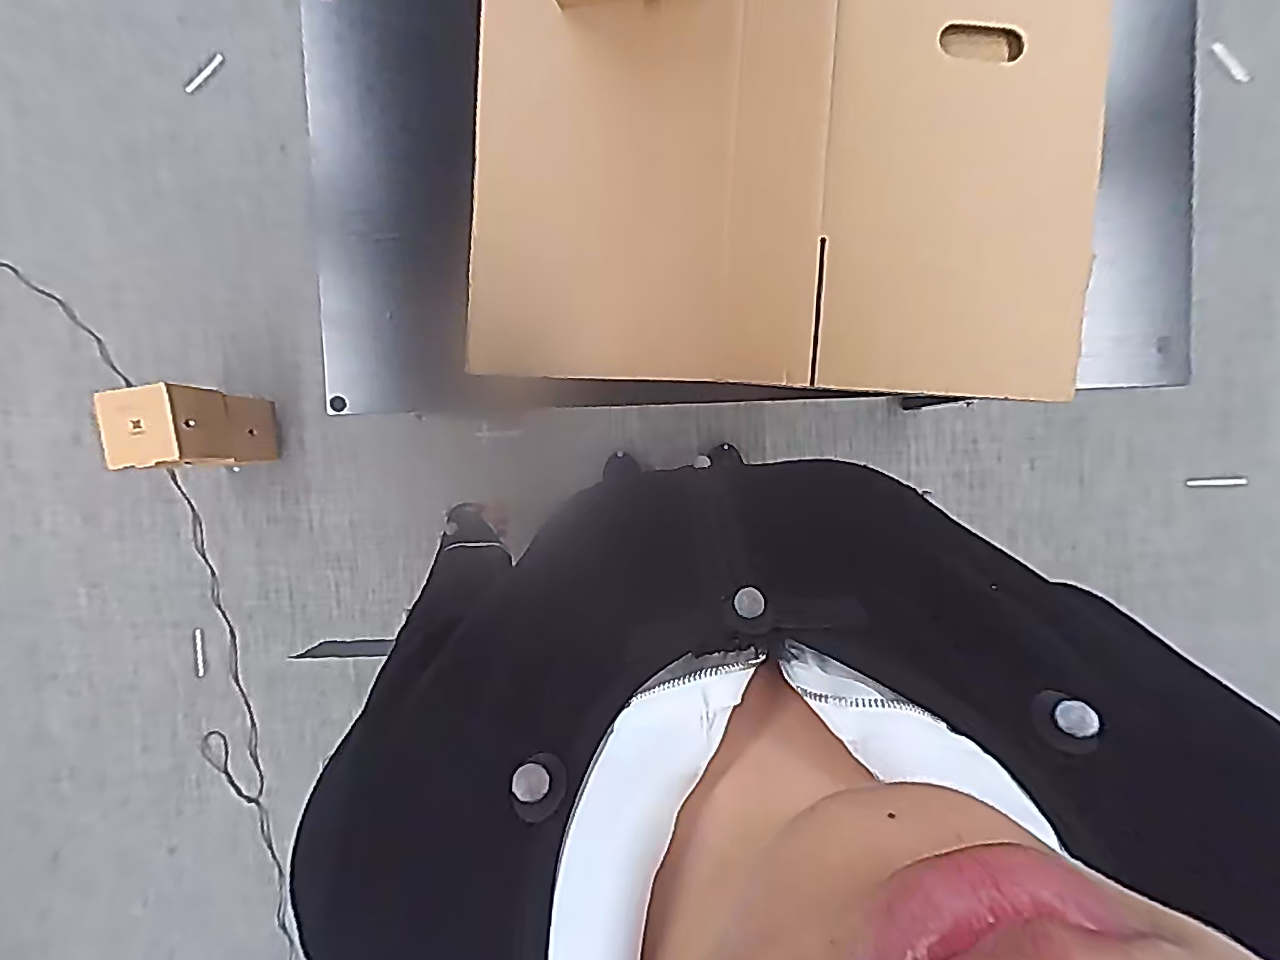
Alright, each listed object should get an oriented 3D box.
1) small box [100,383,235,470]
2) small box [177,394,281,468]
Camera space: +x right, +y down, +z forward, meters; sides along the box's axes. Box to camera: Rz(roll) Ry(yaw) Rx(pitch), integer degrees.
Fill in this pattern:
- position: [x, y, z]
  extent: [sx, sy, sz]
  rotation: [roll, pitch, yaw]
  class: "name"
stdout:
- position: [-1.106, -0.124, 1.282]
  extent: [0.168, 0.176, 0.179]
  rotation: [-9, 92, 1]
  class: "small box"
- position: [-1.101, -0.127, 1.445]
  extent: [0.168, 0.176, 0.179]
  rotation: [-6, 94, 2]
  class: "small box"
